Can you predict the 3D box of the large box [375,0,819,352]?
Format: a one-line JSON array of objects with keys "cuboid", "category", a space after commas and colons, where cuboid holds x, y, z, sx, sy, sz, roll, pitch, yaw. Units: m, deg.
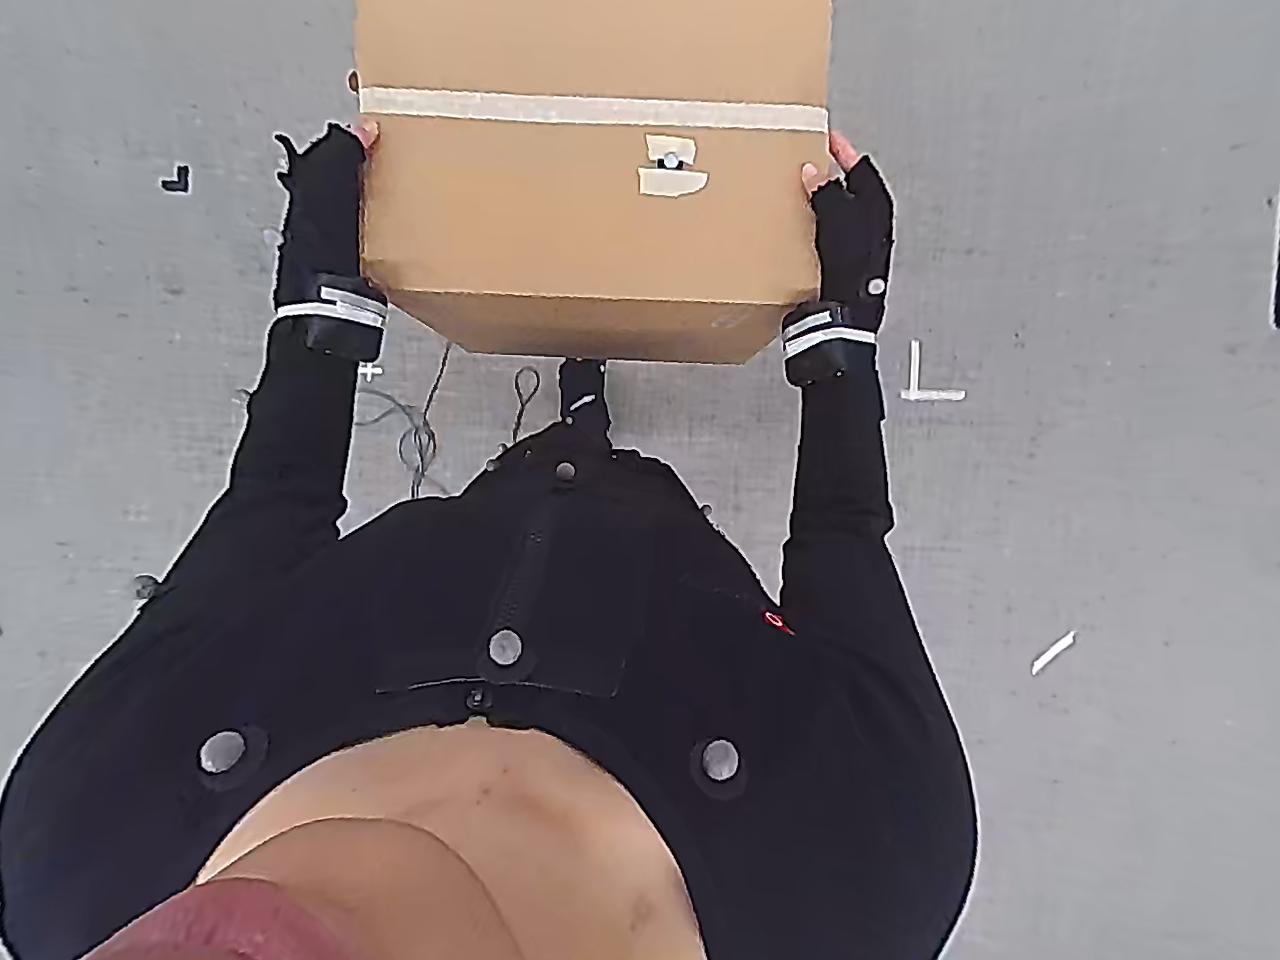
[{"cuboid": [-0.044, -0.336, 0.636, 0.408, 0.320, 0.320, 1, 93, -2], "category": "large box"}]
